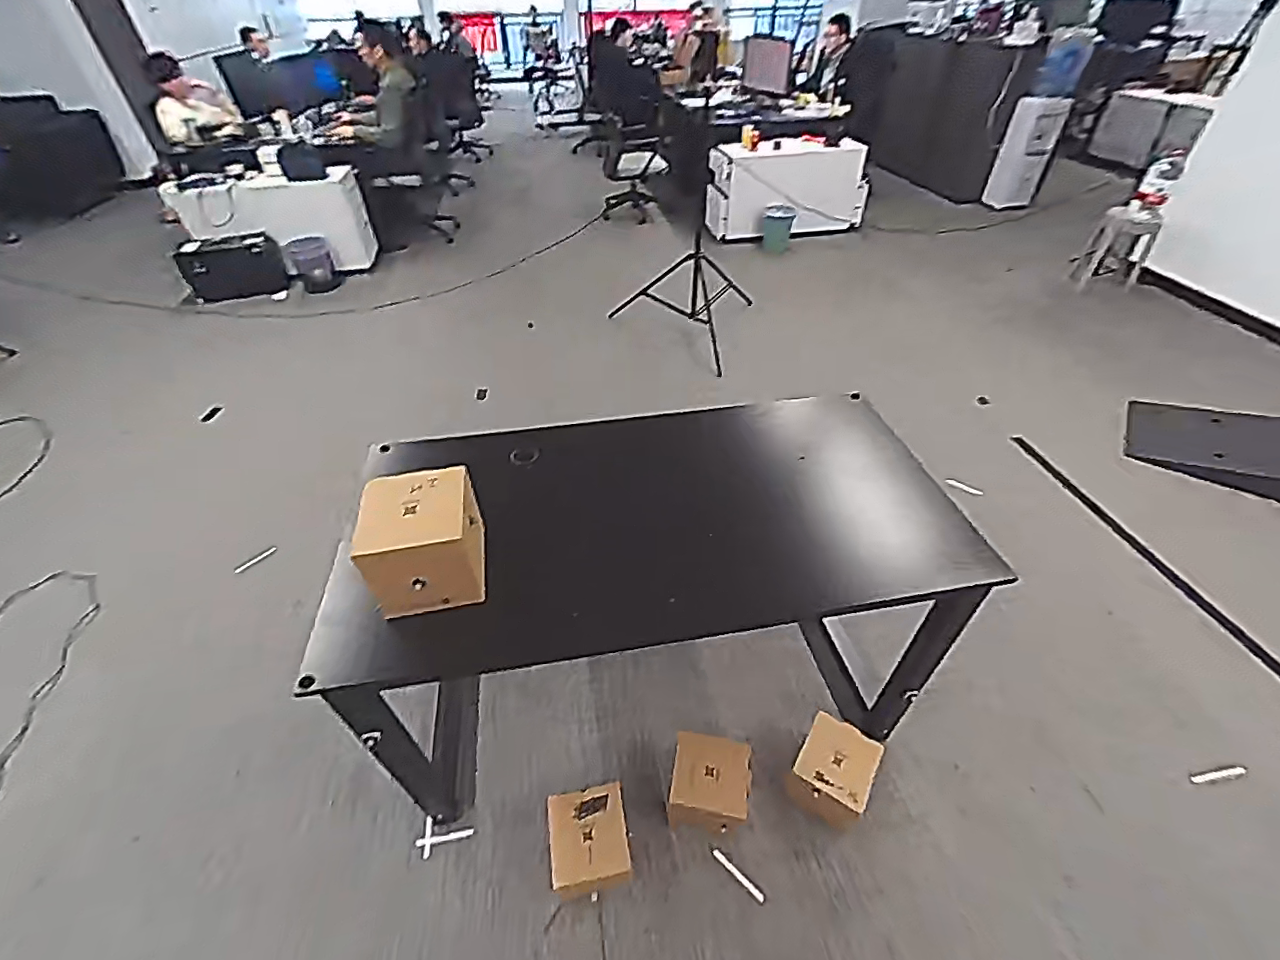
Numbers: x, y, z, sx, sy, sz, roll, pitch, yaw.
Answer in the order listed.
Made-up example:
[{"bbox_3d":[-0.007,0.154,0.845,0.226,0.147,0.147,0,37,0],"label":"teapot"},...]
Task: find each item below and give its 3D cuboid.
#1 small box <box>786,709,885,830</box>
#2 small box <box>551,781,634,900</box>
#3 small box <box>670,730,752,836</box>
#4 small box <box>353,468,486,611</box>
[{"bbox_3d":[0.472,0.710,1.326,0.168,0.176,0.179,23,48,25],"label":"small box"},{"bbox_3d":[-0.107,0.818,1.228,0.168,0.176,0.179,-8,45,-7],"label":"small box"},{"bbox_3d":[0.171,0.736,1.310,0.179,0.176,0.168,6,43,10],"label":"small box"},{"bbox_3d":[-0.364,0.107,0.928,0.168,0.176,0.179,-9,43,-9],"label":"small box"}]
